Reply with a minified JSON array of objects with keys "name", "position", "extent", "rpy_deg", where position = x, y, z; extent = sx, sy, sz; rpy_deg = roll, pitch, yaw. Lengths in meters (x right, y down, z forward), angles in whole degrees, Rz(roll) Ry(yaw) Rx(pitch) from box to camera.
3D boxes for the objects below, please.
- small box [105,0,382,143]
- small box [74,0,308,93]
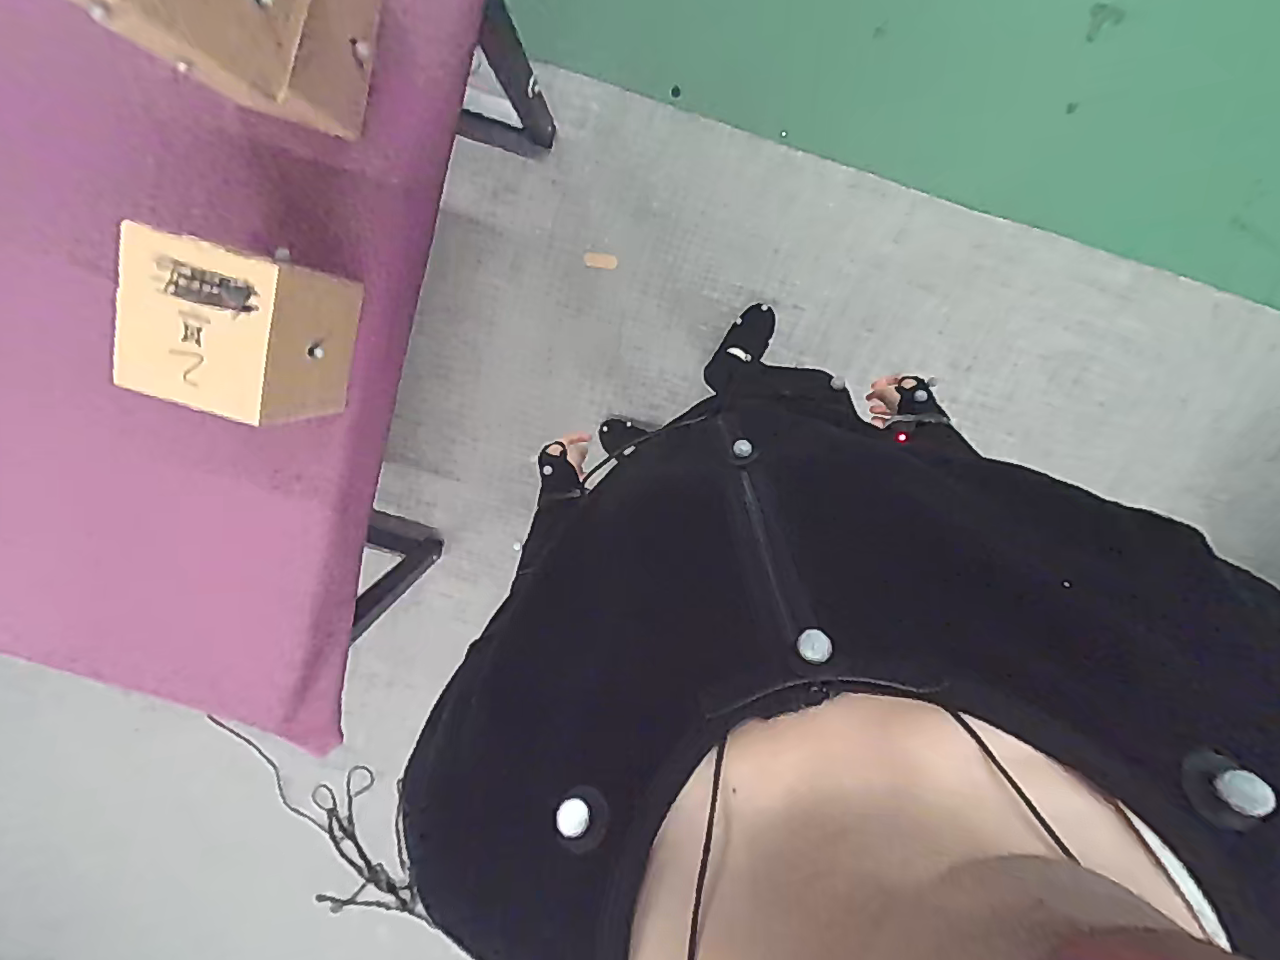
[{"name":"small box","position":[-0.404,-0.505,0.577],"extent":[0.168,0.176,0.179],"rpy_deg":[17,102,-1]},{"name":"small box","position":[-0.396,-0.452,0.421],"extent":[0.179,0.176,0.168],"rpy_deg":[25,102,-4]}]
